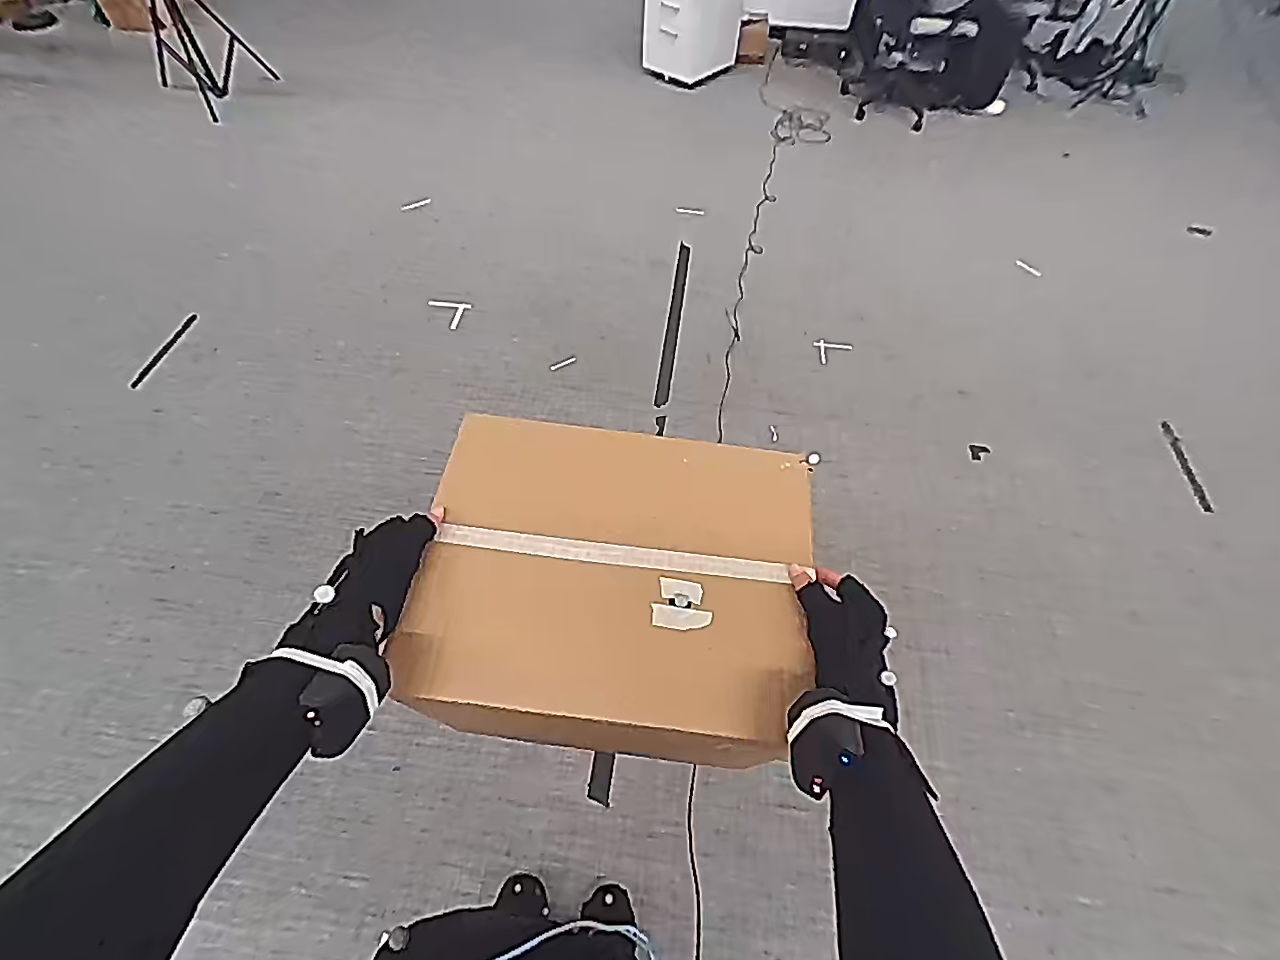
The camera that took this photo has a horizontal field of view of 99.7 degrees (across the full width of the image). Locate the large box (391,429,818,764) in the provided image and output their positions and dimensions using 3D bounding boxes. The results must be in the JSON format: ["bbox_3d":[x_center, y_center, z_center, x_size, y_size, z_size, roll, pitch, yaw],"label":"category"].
[{"bbox_3d":[-0.031,0.165,0.697,0.408,0.320,0.320,7,59,0],"label":"large box"}]
